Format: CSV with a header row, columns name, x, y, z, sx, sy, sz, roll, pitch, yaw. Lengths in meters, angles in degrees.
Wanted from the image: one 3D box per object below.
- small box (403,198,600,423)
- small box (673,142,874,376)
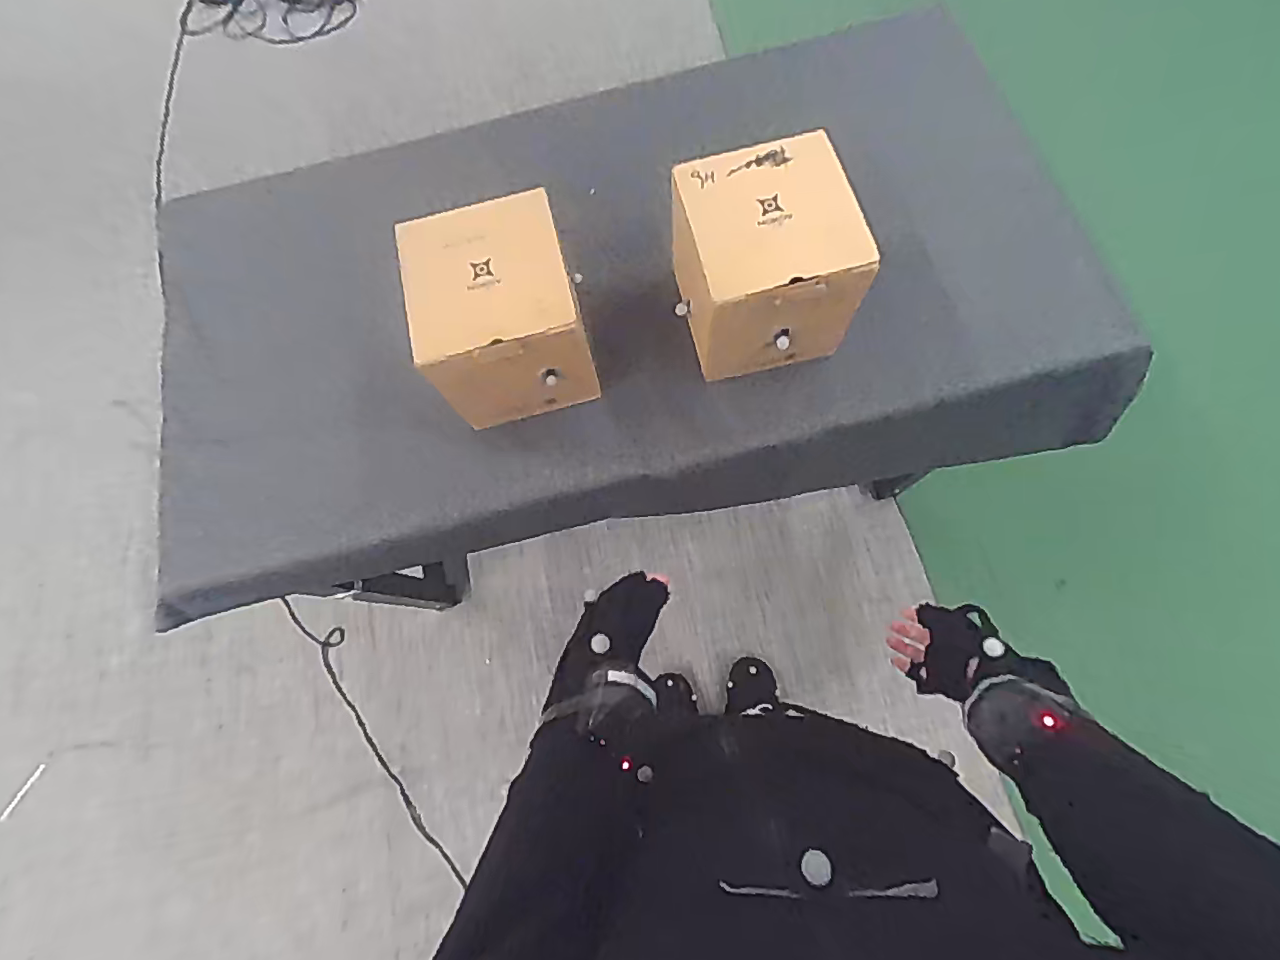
name,x,y,z,sx,sy,sz,roll,pitch,yaw
small box,-0.151,-0.181,0.632,0.168,0.176,0.179,-15,71,-2
small box,0.139,-0.238,0.625,0.168,0.176,0.179,-13,73,0
